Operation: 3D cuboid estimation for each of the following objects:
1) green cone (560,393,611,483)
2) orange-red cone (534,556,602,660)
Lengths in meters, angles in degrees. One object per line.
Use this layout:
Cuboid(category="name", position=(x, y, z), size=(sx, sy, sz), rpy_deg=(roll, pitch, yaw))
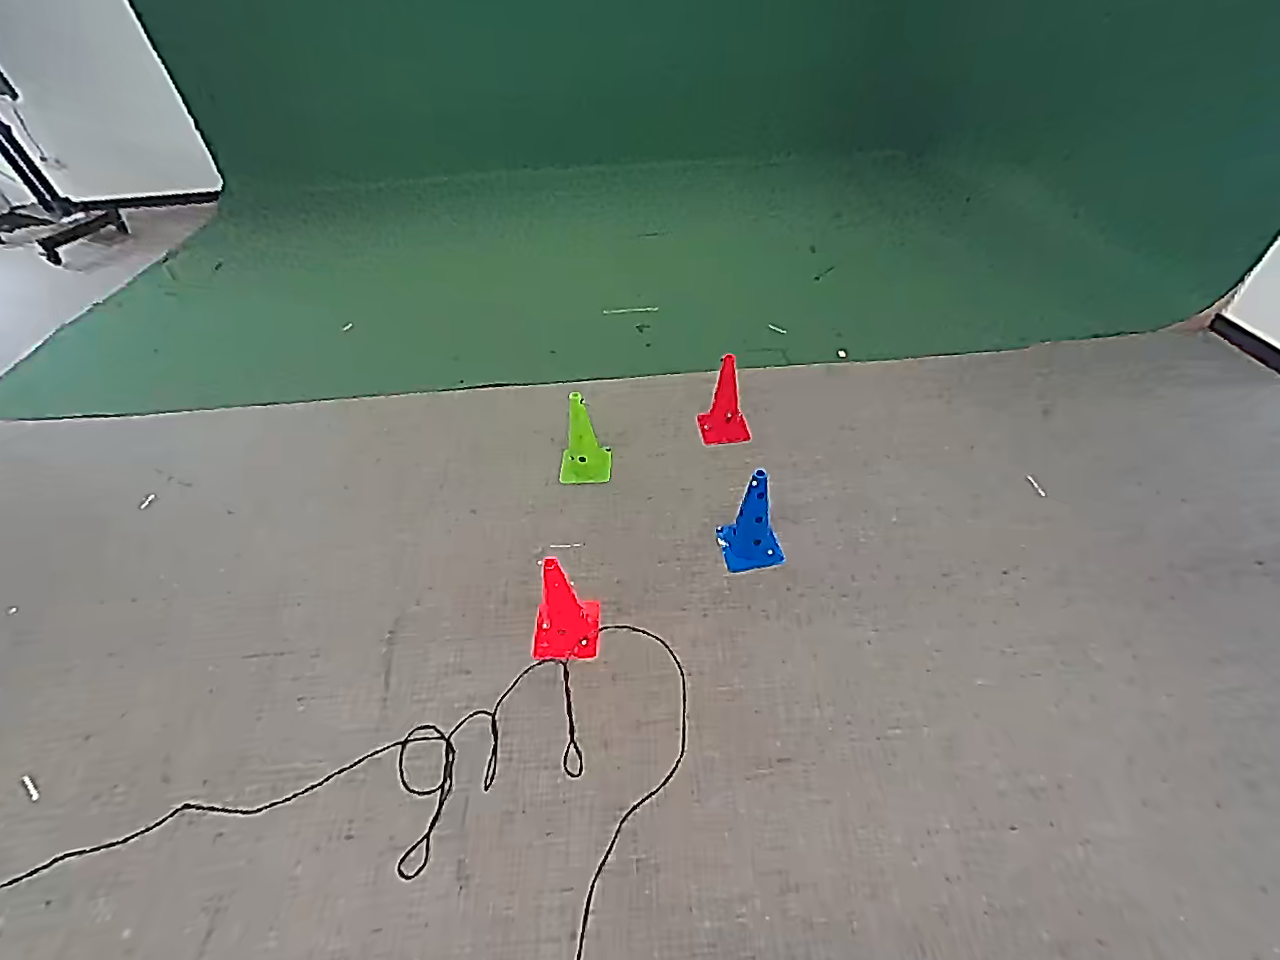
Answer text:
Cuboid(category="green cone", position=(-0.228, -0.182, 2.073), size=(0.200, 0.368, 0.202), rpy_deg=(-3, 46, 1))
Cuboid(category="orange-red cone", position=(-0.227, 0.341, 1.561), size=(0.198, 0.360, 0.199), rpy_deg=(0, 44, 2))
